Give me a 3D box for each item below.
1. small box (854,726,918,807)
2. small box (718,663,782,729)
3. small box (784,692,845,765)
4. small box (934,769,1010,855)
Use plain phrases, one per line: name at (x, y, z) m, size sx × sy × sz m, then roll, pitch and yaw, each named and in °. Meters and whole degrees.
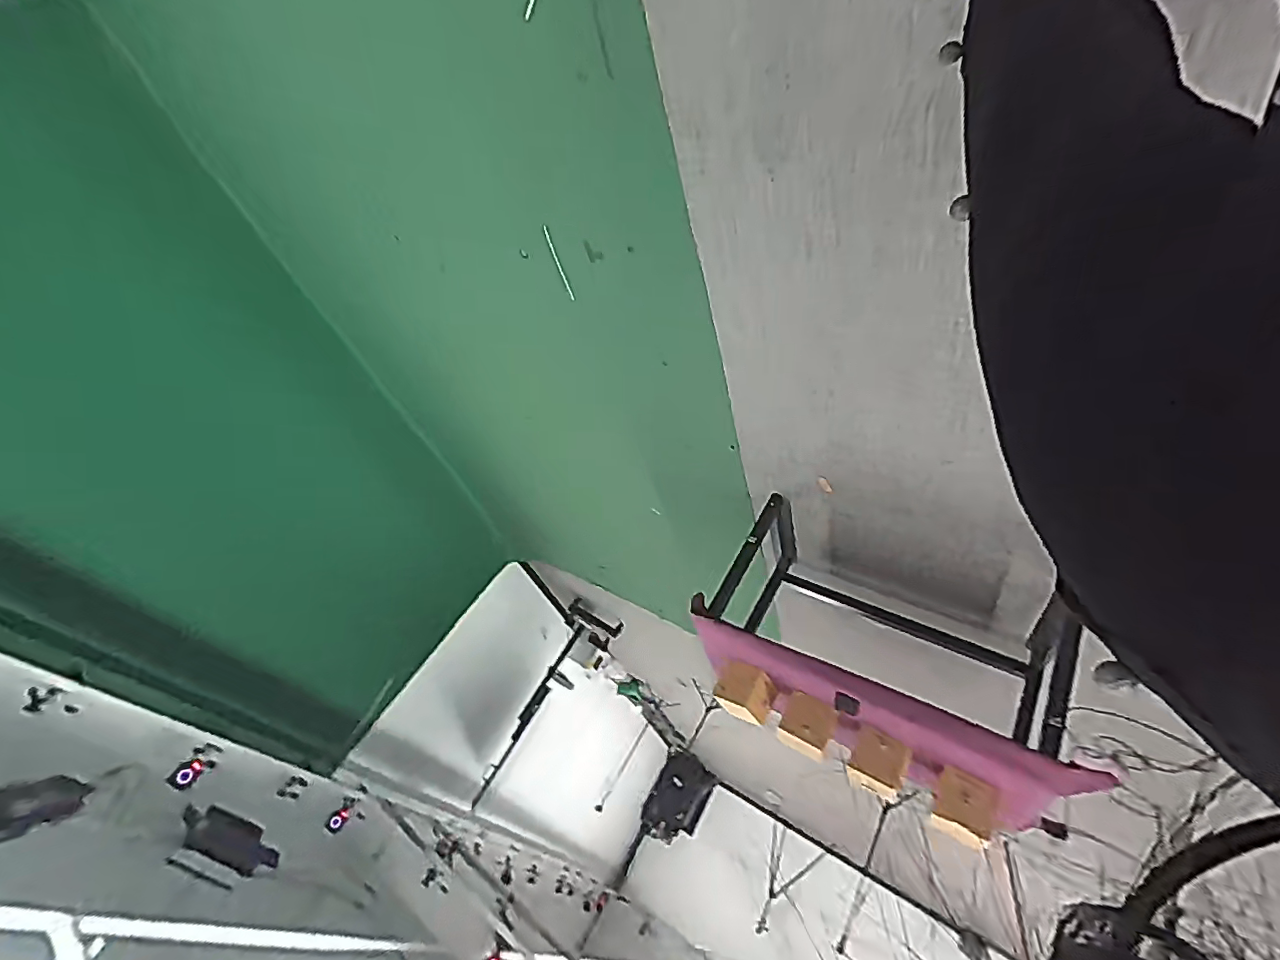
small box at (0.873, 1.012, 1.915) m, size 0.168 × 0.176 × 0.179 m, roll 15°, pitch 145°, yaw 36°
small box at (0.452, 0.862, 2.178) m, size 0.179 × 0.176 × 0.168 m, roll 1°, pitch 137°, yaw 49°
small box at (0.663, 0.936, 2.047) m, size 0.179 × 0.176 × 0.168 m, roll 20°, pitch 148°, yaw 29°
small box at (1.089, 1.082, 1.772) m, size 0.168 × 0.176 × 0.179 m, roll 19°, pitch 147°, yaw 32°
